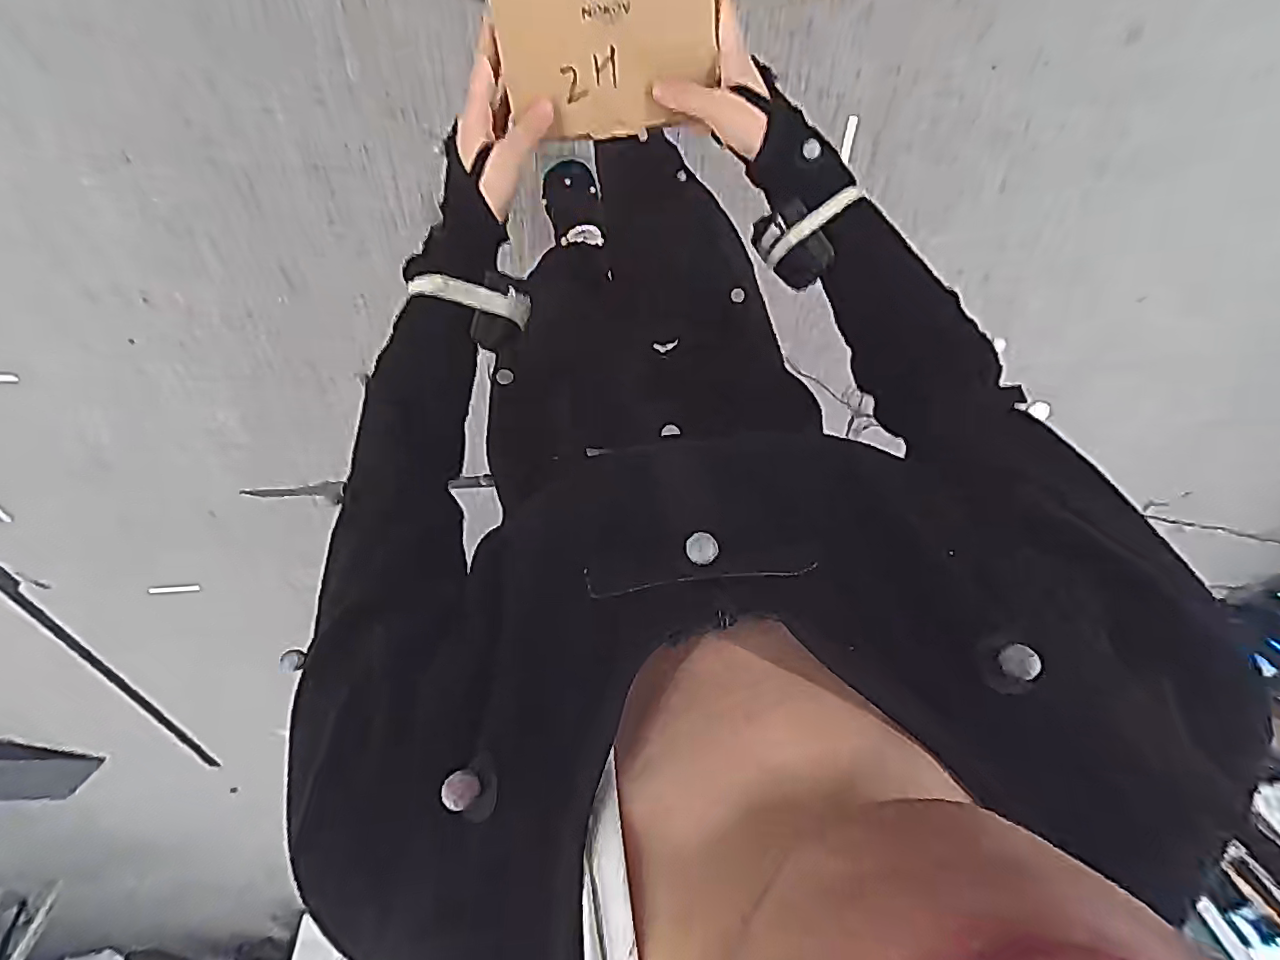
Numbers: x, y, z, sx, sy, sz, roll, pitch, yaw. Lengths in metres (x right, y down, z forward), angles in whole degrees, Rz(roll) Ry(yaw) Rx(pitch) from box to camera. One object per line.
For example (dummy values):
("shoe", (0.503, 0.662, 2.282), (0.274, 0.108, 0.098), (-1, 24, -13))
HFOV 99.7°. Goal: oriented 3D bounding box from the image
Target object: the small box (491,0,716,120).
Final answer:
("small box", (-0.040, -0.412, 0.438), (0.168, 0.176, 0.179), (-10, 130, -3))
